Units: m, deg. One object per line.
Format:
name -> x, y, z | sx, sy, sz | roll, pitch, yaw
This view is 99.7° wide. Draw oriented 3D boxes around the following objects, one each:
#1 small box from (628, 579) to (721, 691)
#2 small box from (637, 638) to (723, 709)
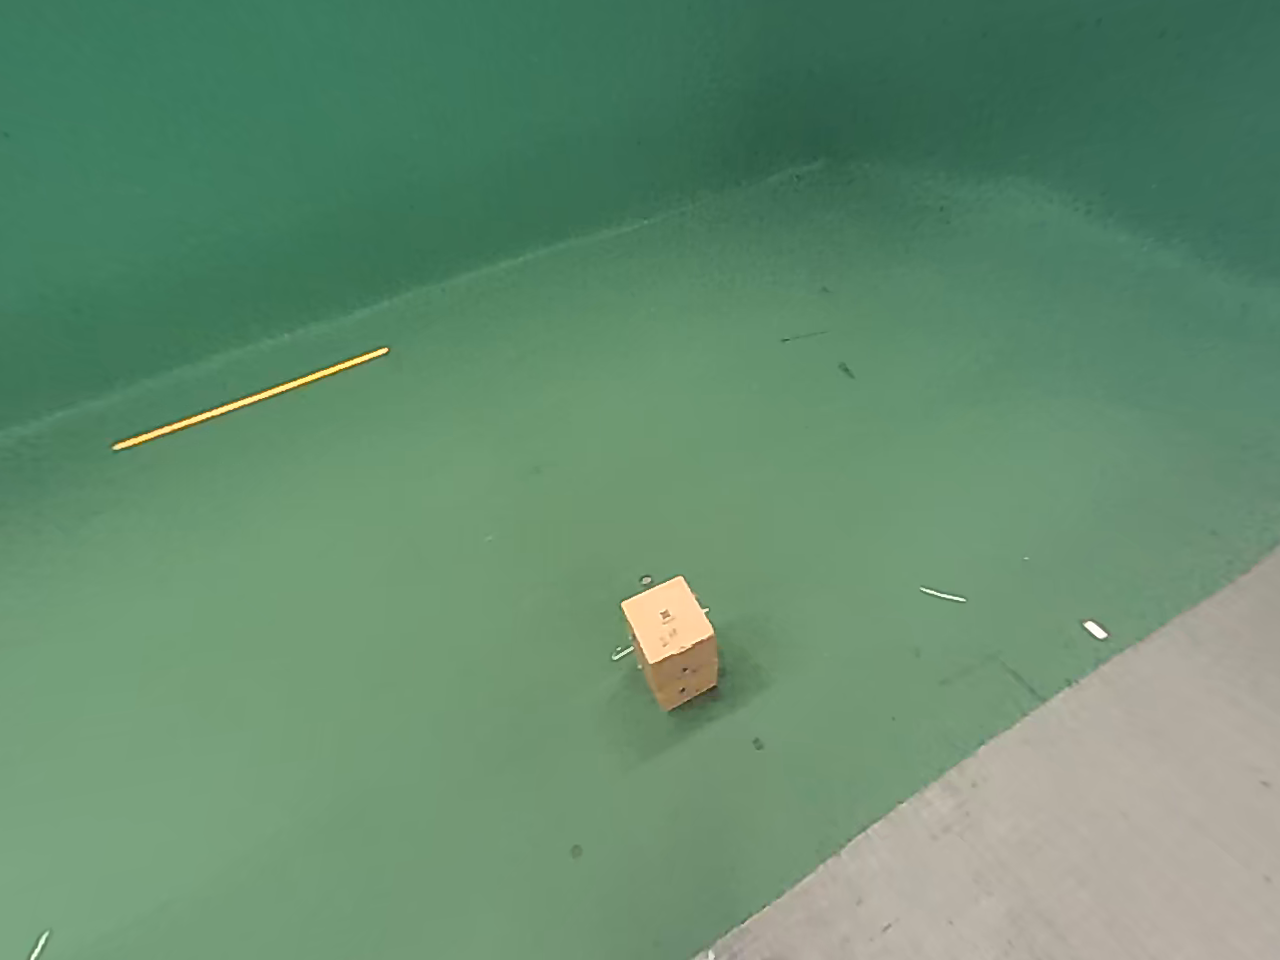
small box -> 0.086, 0.380, 1.321 | 0.168, 0.176, 0.179 | -24, 49, -10
small box -> 0.112, 0.487, 1.446 | 0.168, 0.176, 0.179 | -25, 49, -12
